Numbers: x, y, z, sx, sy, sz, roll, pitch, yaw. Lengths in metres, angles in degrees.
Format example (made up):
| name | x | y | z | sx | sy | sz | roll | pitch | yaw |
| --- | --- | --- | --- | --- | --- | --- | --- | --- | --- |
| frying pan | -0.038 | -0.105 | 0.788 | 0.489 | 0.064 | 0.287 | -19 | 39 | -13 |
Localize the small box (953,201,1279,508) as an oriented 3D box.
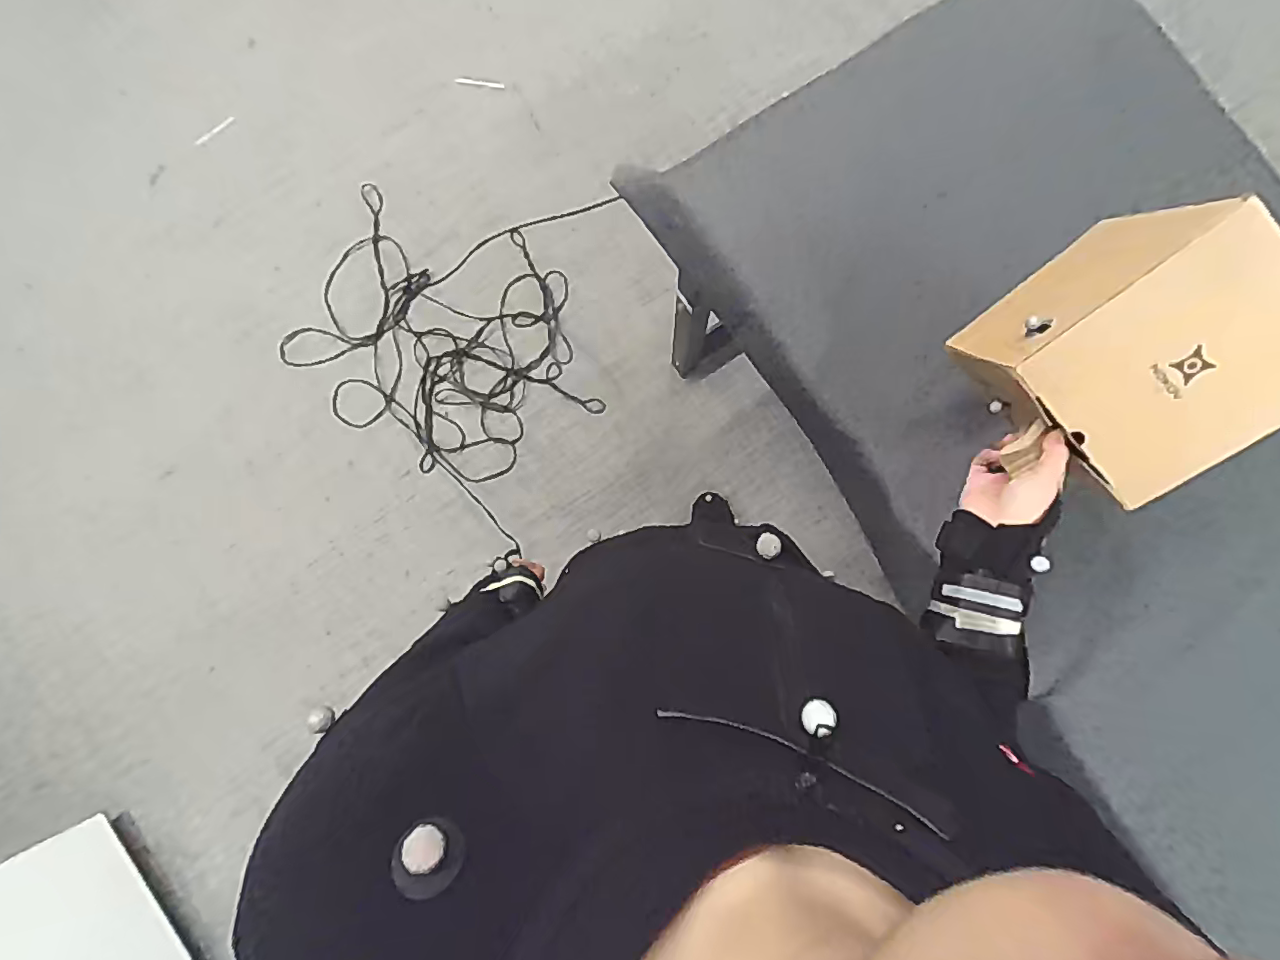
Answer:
| name | x | y | z | sx | sy | sz | roll | pitch | yaw |
| --- | --- | --- | --- | --- | --- | --- | --- | --- | --- |
| small box | 0.429 | -0.113 | 0.486 | 0.168 | 0.176 | 0.179 | 45 | 113 | -7 |
